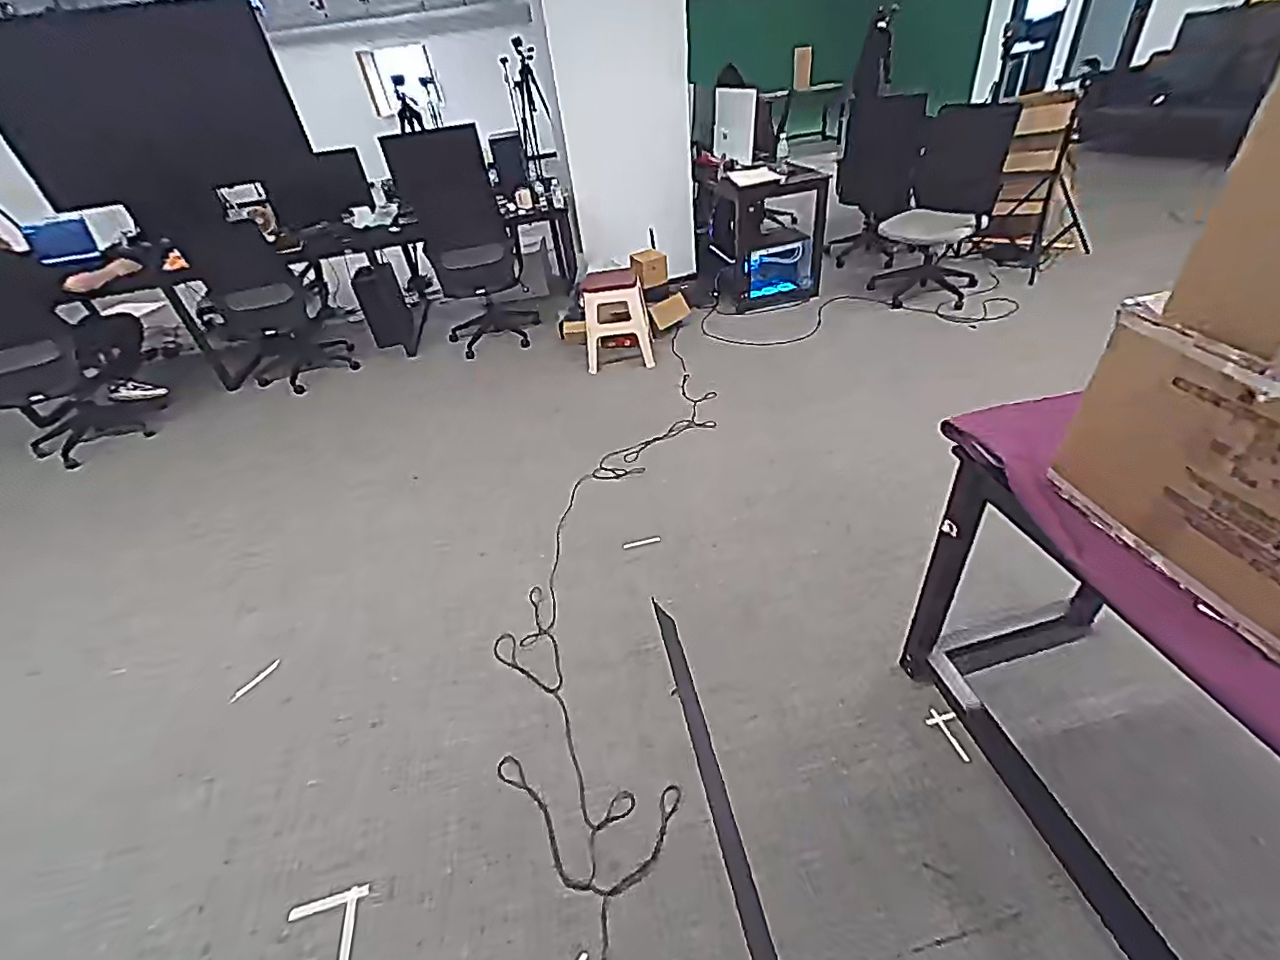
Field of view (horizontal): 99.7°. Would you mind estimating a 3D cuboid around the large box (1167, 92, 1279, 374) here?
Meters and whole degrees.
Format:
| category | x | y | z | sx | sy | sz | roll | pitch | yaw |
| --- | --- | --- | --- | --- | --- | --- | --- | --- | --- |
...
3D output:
| category | x | y | z | sx | sy | sz | roll | pitch | yaw |
| --- | --- | --- | --- | --- | --- | --- | --- | --- | --- |
| large box | 0.911 | -0.281 | 0.544 | 0.408 | 0.320 | 0.320 | -13 | 36 | -5 |
